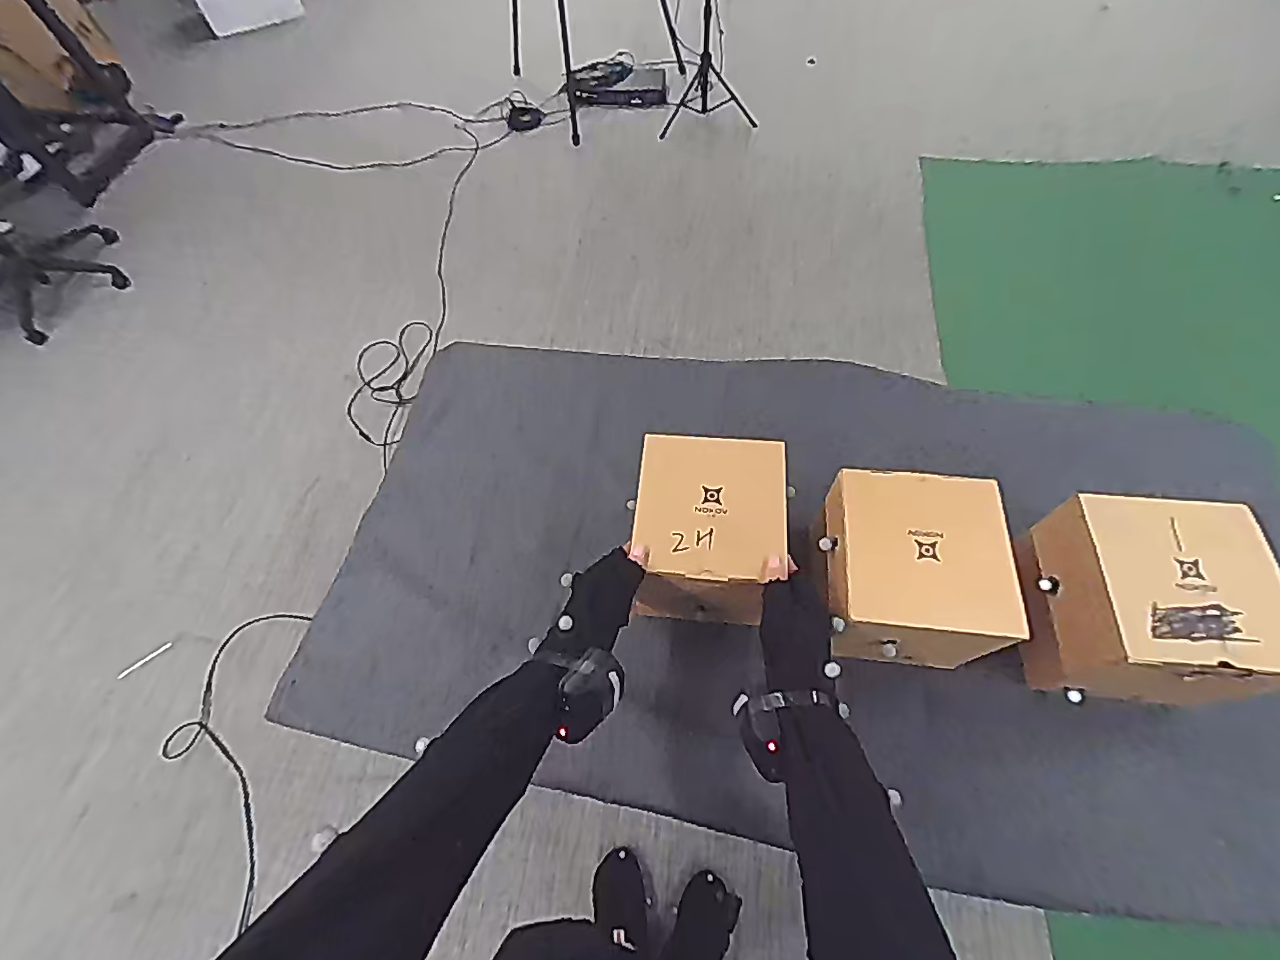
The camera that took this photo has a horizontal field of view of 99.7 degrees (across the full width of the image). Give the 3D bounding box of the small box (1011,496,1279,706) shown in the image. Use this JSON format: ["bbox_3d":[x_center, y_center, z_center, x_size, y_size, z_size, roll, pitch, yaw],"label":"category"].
[{"bbox_3d":[0.535,0.137,0.585,0.168,0.176,0.179,4,60,7],"label":"small box"}]

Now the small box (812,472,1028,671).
[{"bbox_3d":[0.298,0.111,0.621,0.168,0.176,0.179,4,60,7],"label":"small box"}]
